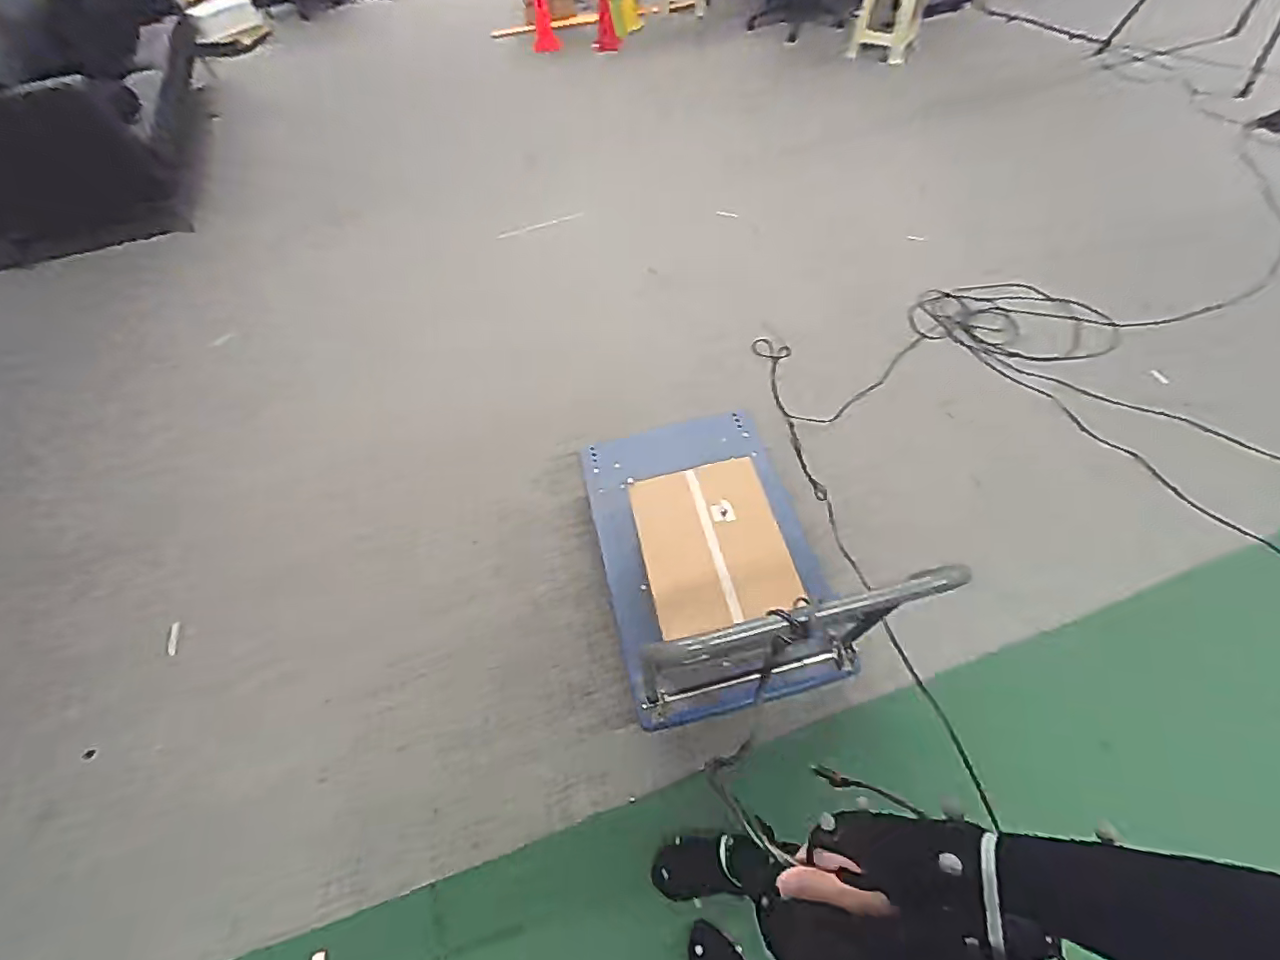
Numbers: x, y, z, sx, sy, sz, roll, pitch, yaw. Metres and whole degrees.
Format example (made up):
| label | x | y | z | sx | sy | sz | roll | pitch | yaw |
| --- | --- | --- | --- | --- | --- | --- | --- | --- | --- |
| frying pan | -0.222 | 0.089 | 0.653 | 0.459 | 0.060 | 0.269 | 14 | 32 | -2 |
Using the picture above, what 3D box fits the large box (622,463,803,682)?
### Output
| label | x | y | z | sx | sy | sz | roll | pitch | yaw |
| --- | --- | --- | --- | --- | --- | --- | --- | --- | --- |
| large box | 0.159 | 0.232 | 1.336 | 0.320 | 0.320 | 0.408 | -12 | 57 | -4 |
